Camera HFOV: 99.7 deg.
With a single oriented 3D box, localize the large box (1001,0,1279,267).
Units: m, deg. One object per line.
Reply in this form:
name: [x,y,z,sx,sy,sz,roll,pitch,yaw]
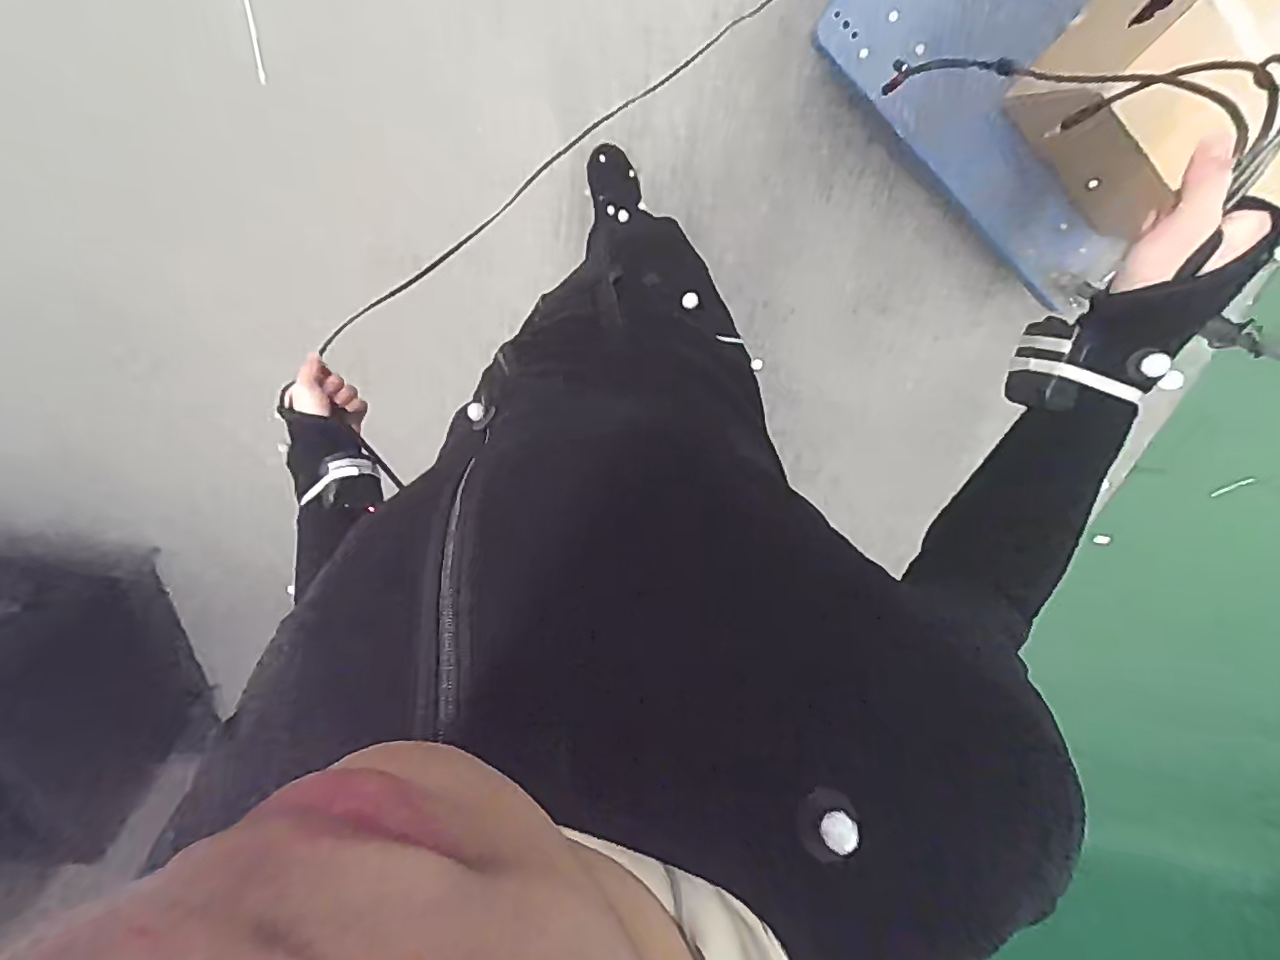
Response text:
large box: [0.947,-0.645,0.933,0.408,0.320,0.320,35,117,-16]
